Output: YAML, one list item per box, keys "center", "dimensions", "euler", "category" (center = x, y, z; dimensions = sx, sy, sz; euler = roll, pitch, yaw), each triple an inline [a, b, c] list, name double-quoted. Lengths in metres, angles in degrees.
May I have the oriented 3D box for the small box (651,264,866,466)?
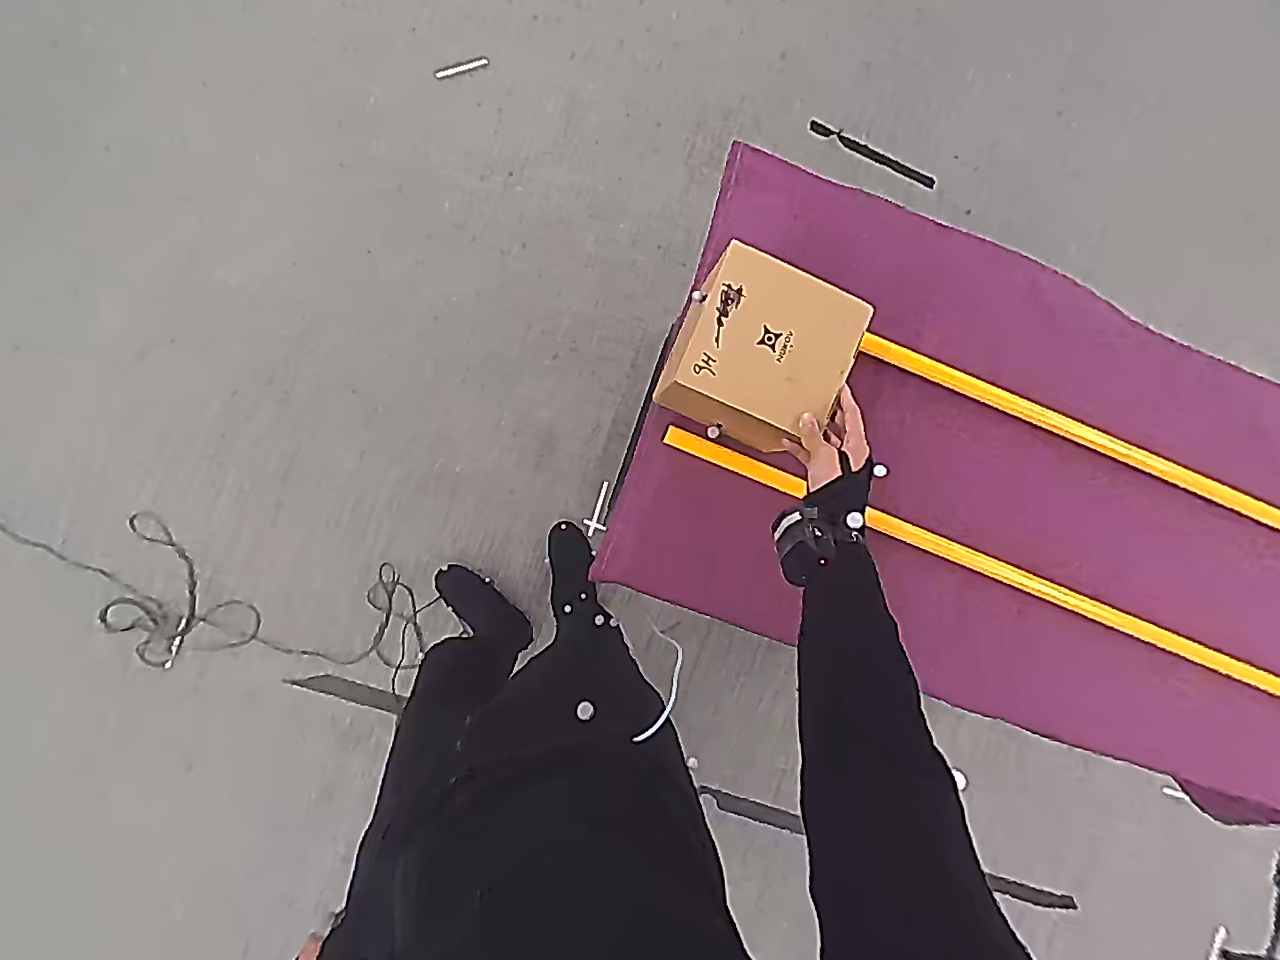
- center: [0.131, -0.127, 0.663]
  dimensions: [0.179, 0.176, 0.168]
  euler: [24, 88, -7]
  category: "small box"
